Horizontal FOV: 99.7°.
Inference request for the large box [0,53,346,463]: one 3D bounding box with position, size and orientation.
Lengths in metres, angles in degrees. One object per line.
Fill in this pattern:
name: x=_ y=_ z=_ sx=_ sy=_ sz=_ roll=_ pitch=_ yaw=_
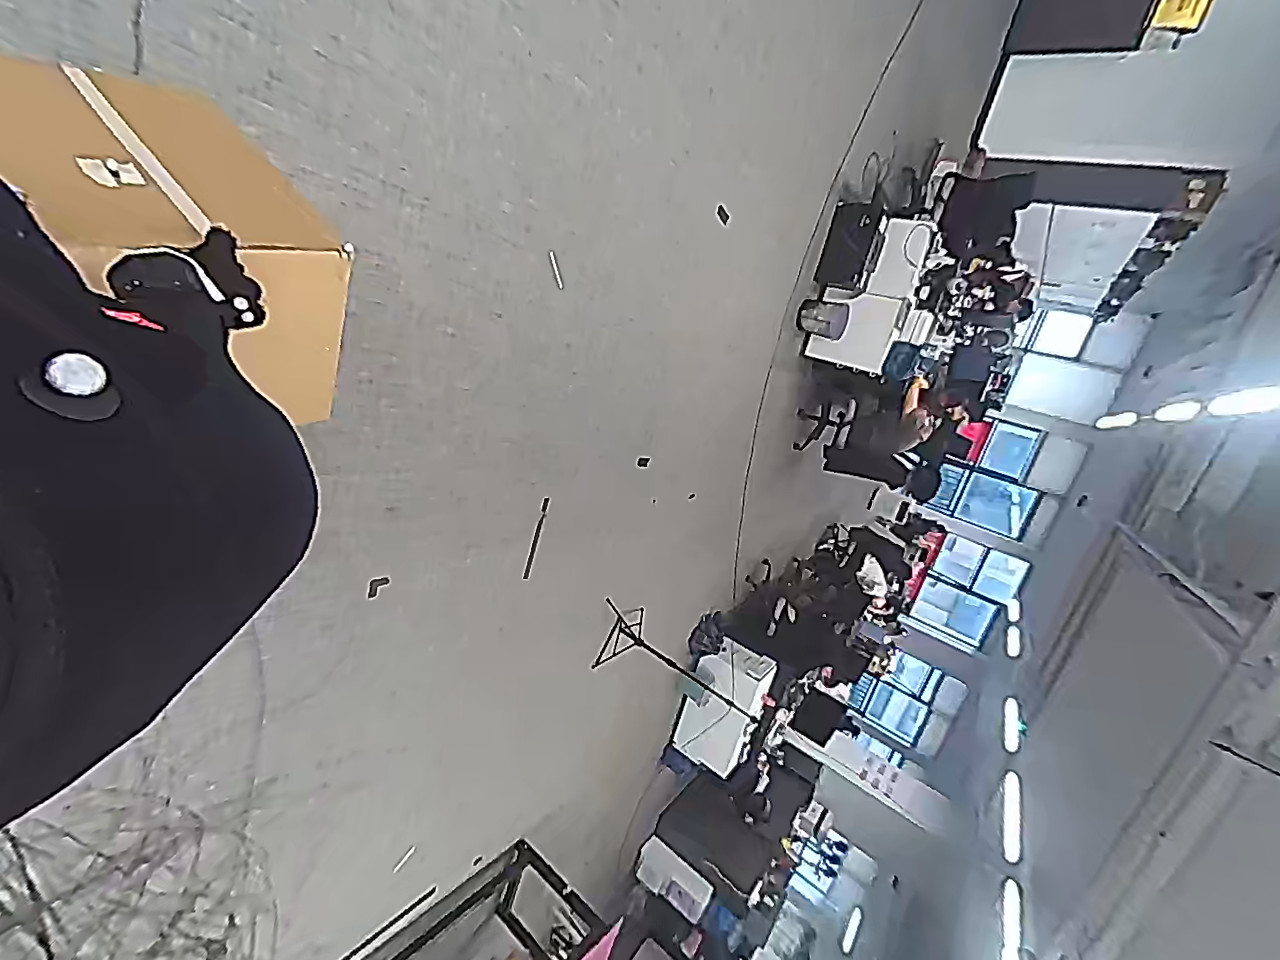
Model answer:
large box: x=-0.687 y=-0.297 z=0.748 sx=0.320 sy=0.408 sz=0.320 roll=-29 pitch=161 yaw=-48
